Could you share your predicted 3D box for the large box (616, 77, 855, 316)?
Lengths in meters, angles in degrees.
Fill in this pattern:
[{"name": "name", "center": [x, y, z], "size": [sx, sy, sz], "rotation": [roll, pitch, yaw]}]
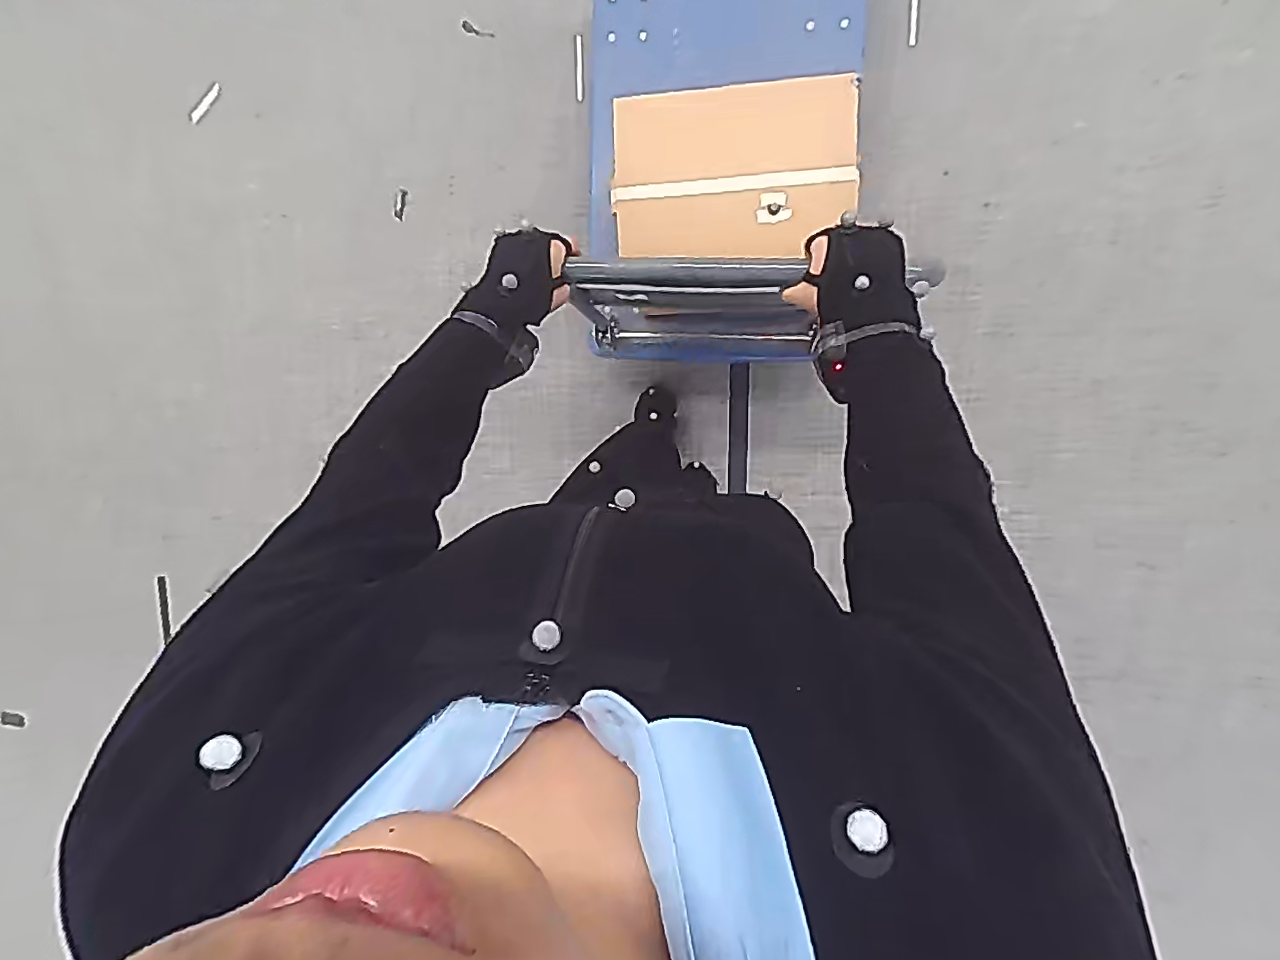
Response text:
[{"name": "large box", "center": [0.178, -0.523, 1.076], "size": [0.408, 0.320, 0.320], "rotation": [-1, 98, 6]}]
